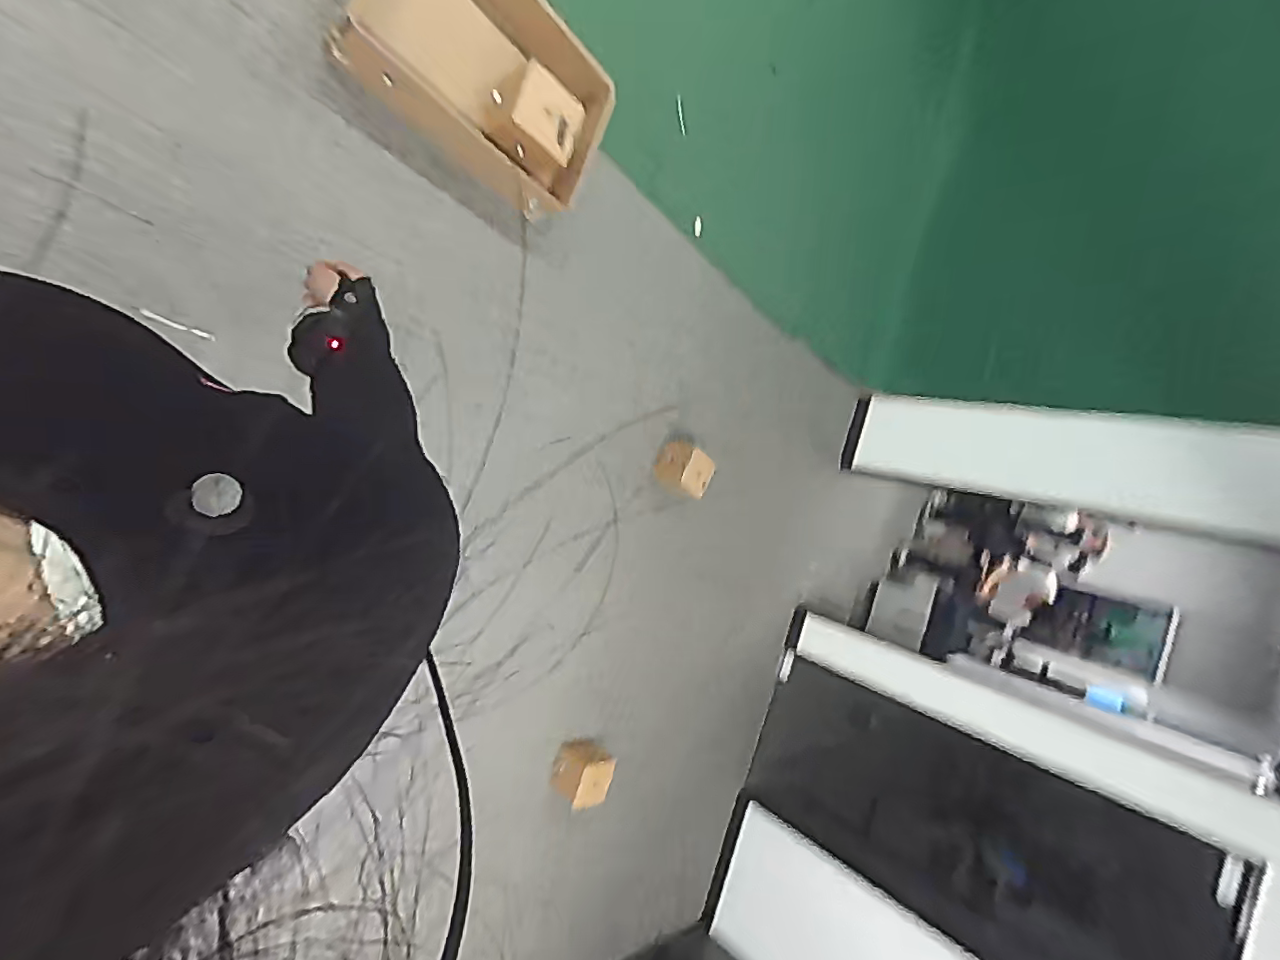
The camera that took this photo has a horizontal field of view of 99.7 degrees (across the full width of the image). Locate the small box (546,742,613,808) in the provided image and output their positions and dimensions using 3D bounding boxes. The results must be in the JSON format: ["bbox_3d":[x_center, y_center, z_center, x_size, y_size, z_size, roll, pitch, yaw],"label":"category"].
[{"bbox_3d":[-0.245,1.181,2.180,0.179,0.176,0.168,22,85,-45],"label":"small box"}]

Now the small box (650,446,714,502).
[{"bbox_3d":[0.171,-0.031,2.244,0.179,0.176,0.168,39,74,-44],"label":"small box"}]
